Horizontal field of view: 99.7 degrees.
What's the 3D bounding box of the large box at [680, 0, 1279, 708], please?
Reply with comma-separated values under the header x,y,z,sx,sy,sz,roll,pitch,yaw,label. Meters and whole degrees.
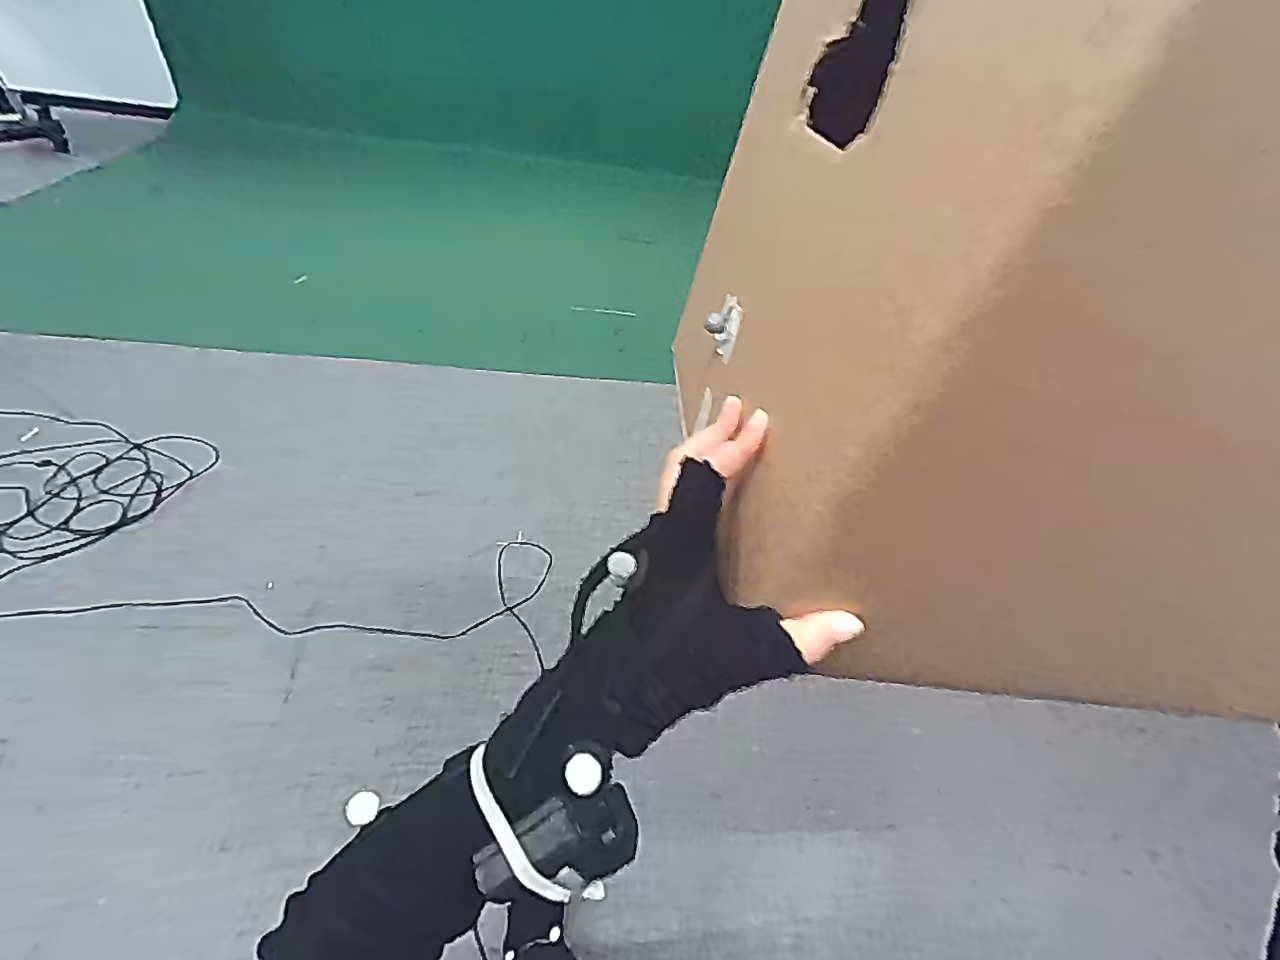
x,y,z,sx,sy,sz,roll,pitch,yaw,label
0.271,-0.088,0.321,0.408,0.320,0.320,10,41,-12,large box
